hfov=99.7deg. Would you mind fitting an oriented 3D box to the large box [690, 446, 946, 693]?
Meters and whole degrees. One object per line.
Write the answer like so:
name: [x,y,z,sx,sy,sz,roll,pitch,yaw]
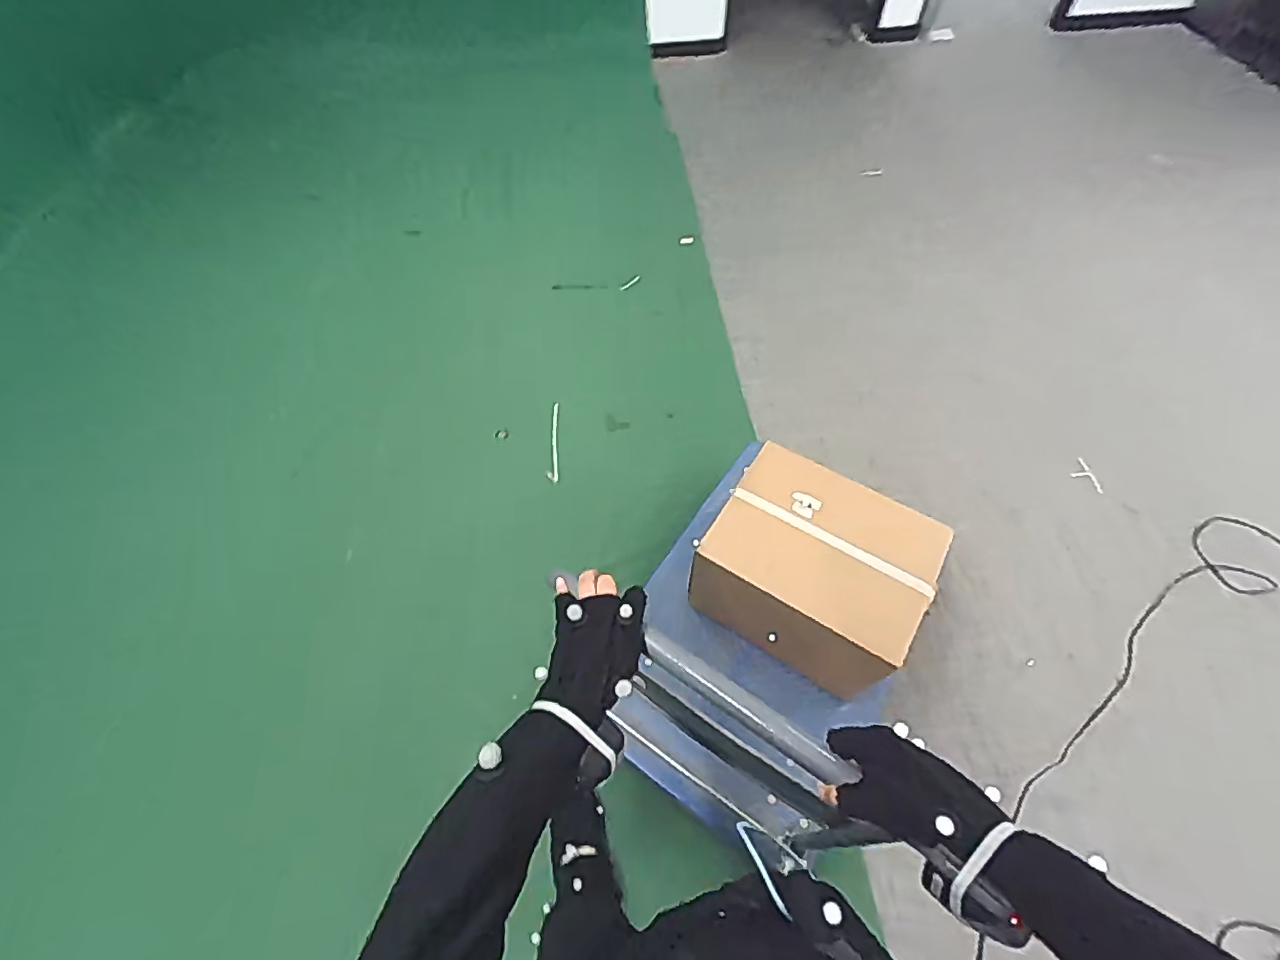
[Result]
large box: [0.359,0.199,1.177,0.408,0.320,0.320,28,63,19]
